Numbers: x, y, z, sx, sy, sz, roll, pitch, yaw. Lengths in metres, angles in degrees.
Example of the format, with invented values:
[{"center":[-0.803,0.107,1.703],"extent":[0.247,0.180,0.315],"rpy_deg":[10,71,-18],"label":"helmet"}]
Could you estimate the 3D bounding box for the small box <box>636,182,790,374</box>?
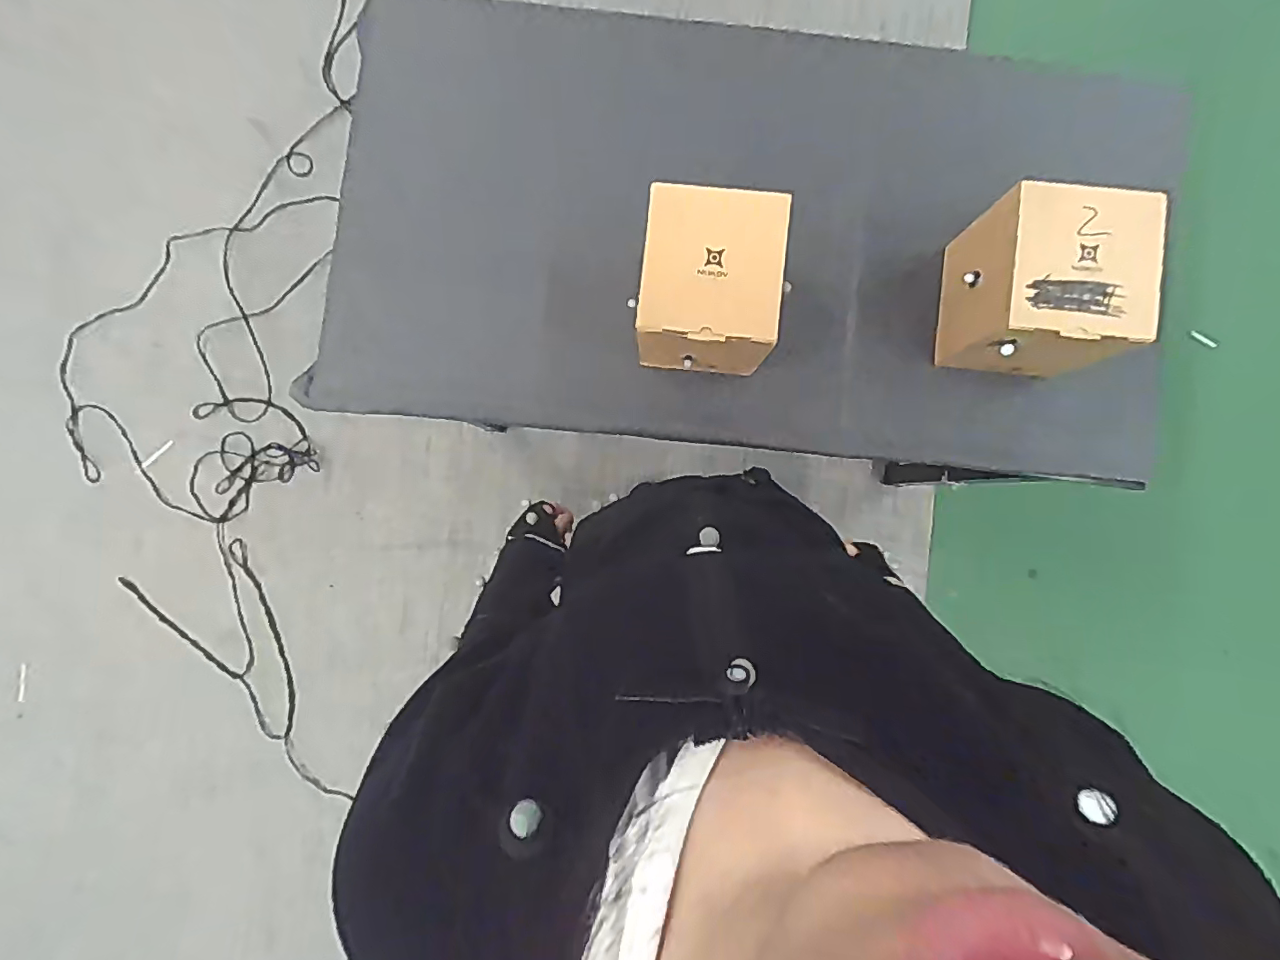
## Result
[{"center":[0.084,-0.249,0.703],"extent":[0.168,0.176,0.179],"rpy_deg":[6,89,1],"label":"small box"}]
